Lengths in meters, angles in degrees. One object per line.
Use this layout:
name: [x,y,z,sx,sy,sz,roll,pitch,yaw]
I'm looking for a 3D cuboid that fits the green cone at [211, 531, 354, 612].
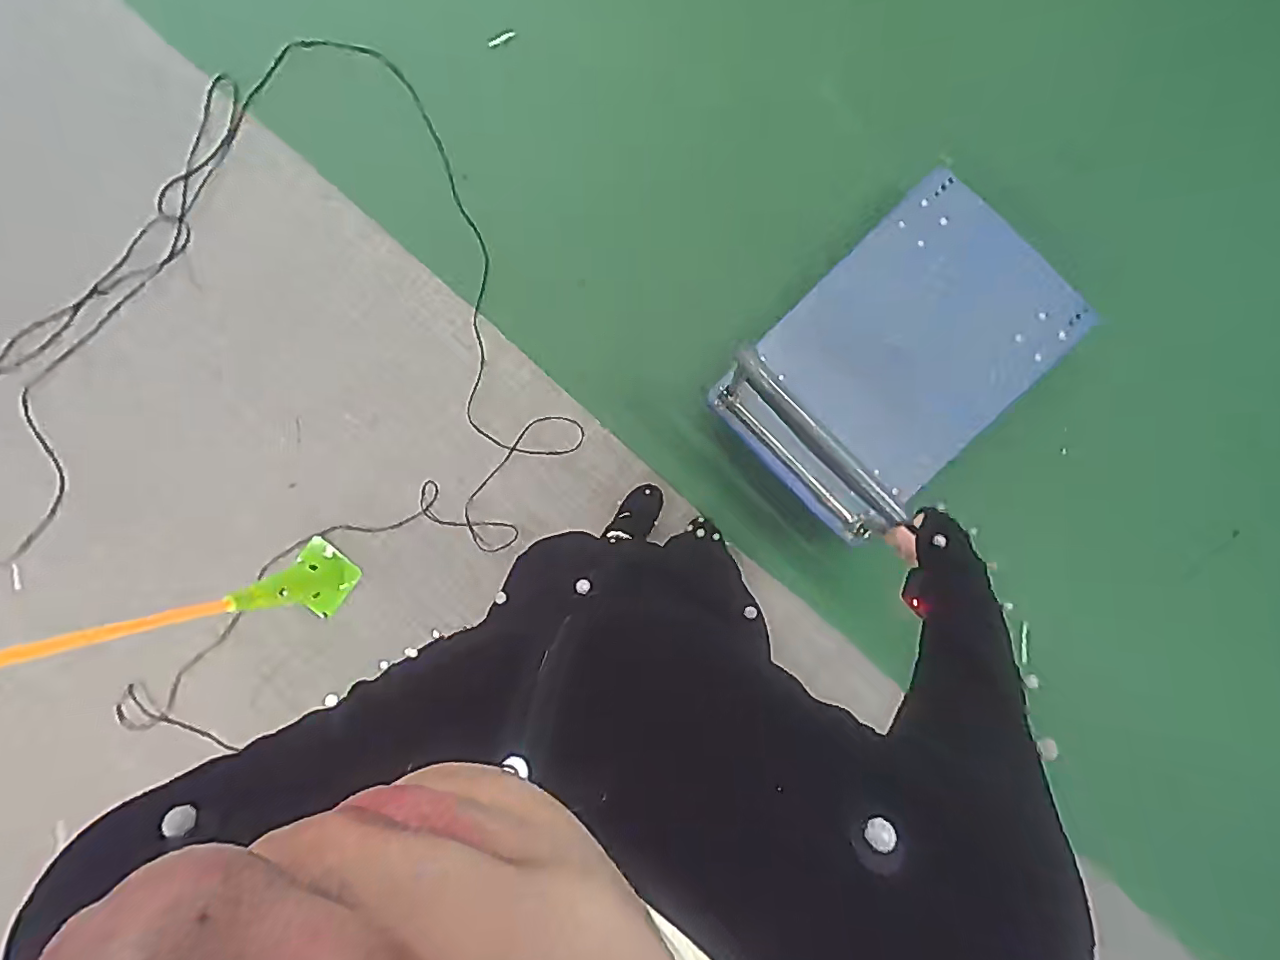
green cone: [-1.034,0.287,1.527,0.202,0.368,0.200,39,93,4]
